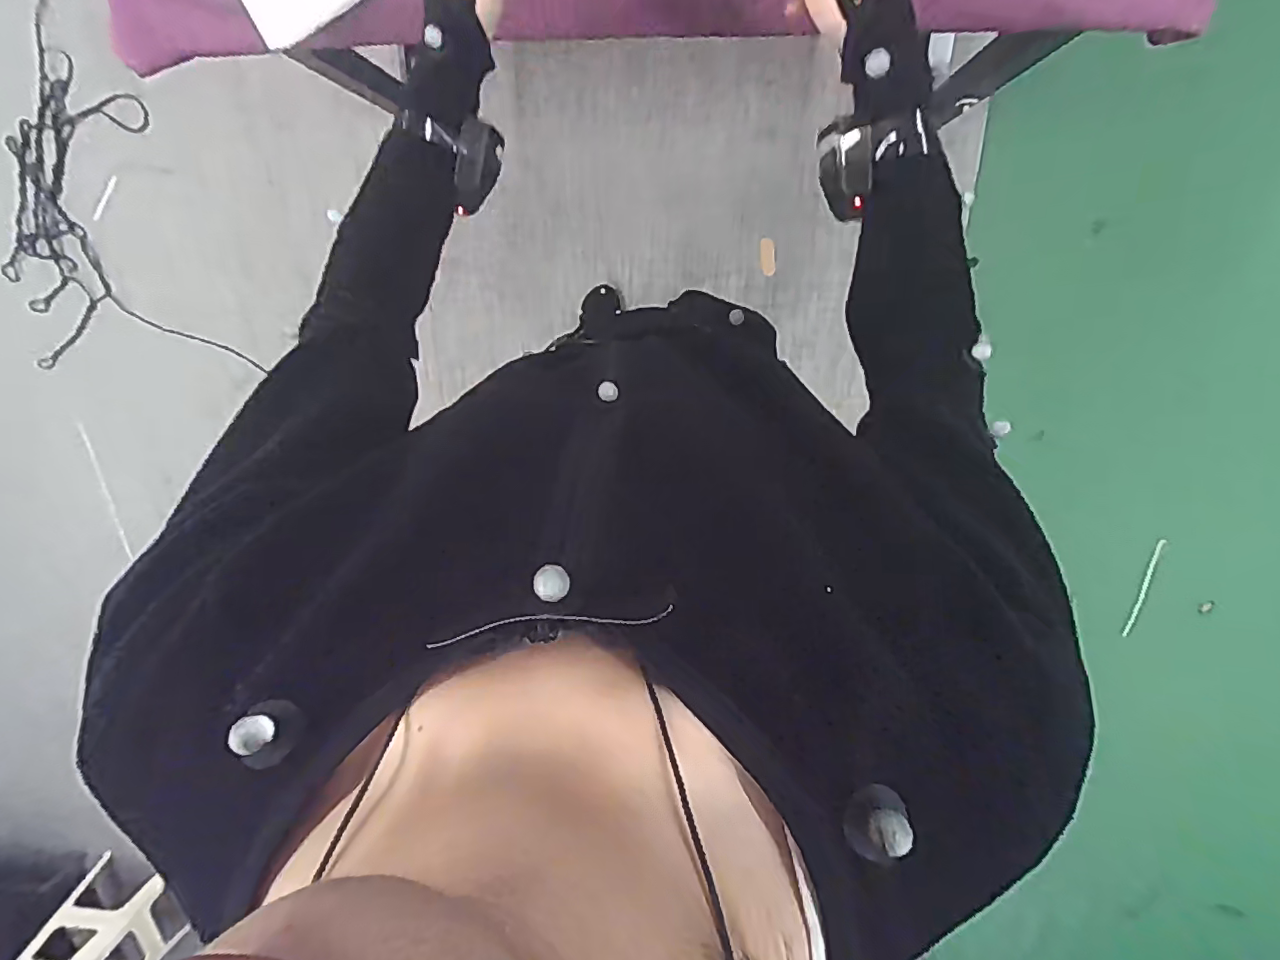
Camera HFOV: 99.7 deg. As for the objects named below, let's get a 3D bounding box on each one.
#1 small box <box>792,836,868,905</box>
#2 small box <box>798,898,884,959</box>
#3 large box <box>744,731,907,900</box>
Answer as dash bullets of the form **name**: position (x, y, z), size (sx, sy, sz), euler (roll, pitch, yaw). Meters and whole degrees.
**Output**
- **small box**: position (0.512, 1.107, 1.475), size (0.168, 0.176, 0.179), euler (-6, 108, 8)
- **small box**: position (0.494, 1.167, 1.325), size (0.179, 0.176, 0.168), euler (-5, 108, 8)
- **large box**: position (0.568, 1.050, 1.711), size (0.408, 0.320, 0.320), euler (-12, 109, 8)
